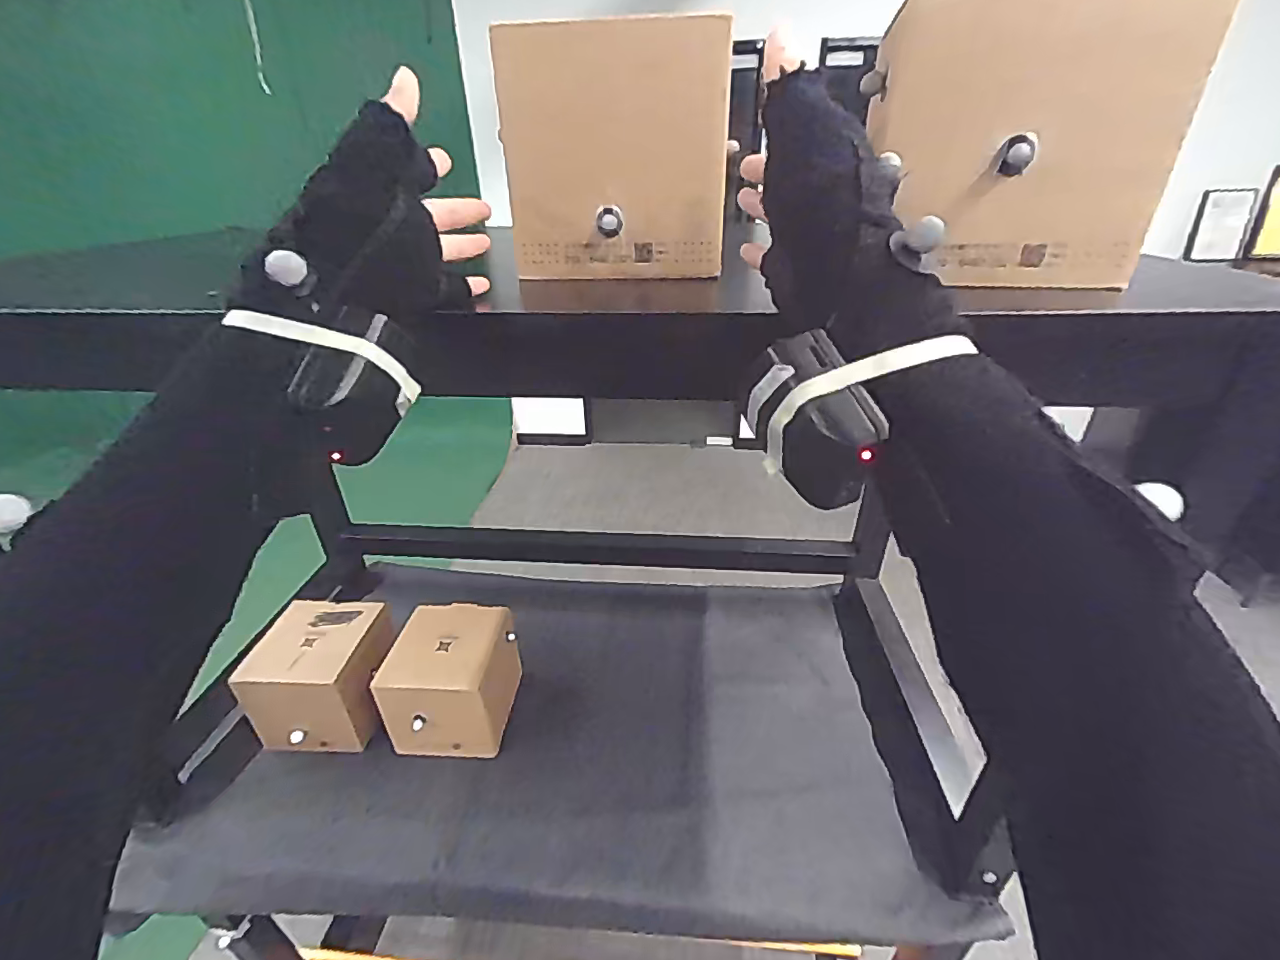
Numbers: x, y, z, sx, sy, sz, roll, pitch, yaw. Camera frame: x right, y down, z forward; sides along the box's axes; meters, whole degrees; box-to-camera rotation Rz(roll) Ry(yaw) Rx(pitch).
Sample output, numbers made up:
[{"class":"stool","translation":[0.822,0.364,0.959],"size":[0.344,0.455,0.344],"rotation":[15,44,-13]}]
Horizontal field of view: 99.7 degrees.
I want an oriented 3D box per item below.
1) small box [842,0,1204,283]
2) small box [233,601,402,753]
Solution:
[{"class":"small box","translation":[0.251,-0.247,0.404],"size":[0.168,0.176,0.179],"rotation":[7,30,14]},{"class":"small box","translation":[-0.525,0.328,0.914],"size":[0.168,0.176,0.179],"rotation":[0,30,3]}]
